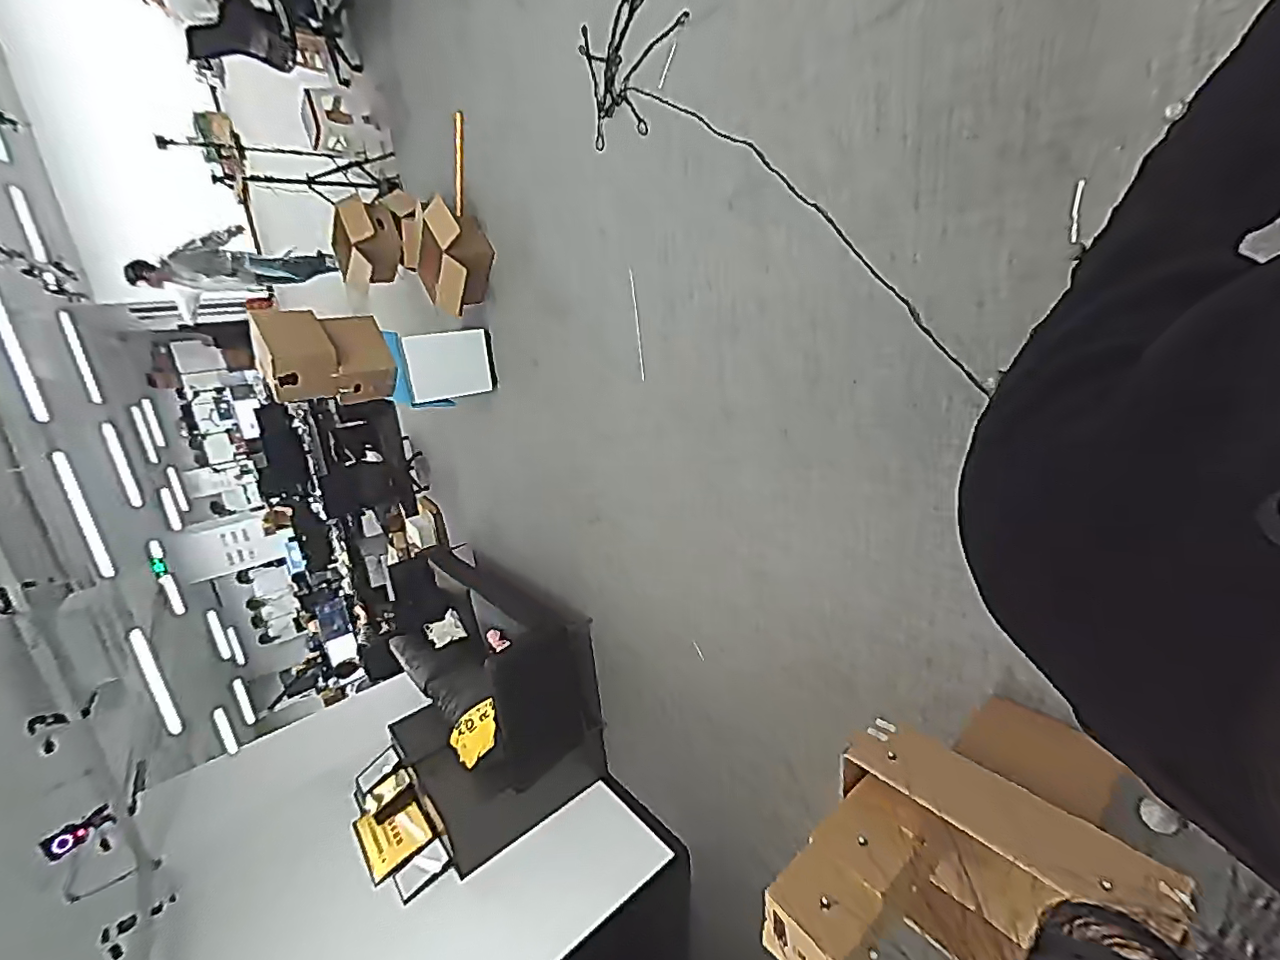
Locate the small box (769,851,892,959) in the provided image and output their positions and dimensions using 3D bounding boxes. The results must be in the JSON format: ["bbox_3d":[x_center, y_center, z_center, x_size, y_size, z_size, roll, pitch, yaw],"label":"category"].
[{"bbox_3d":[0.392,0.924,1.125,0.179,0.176,0.168,21,121,48],"label":"small box"}]
